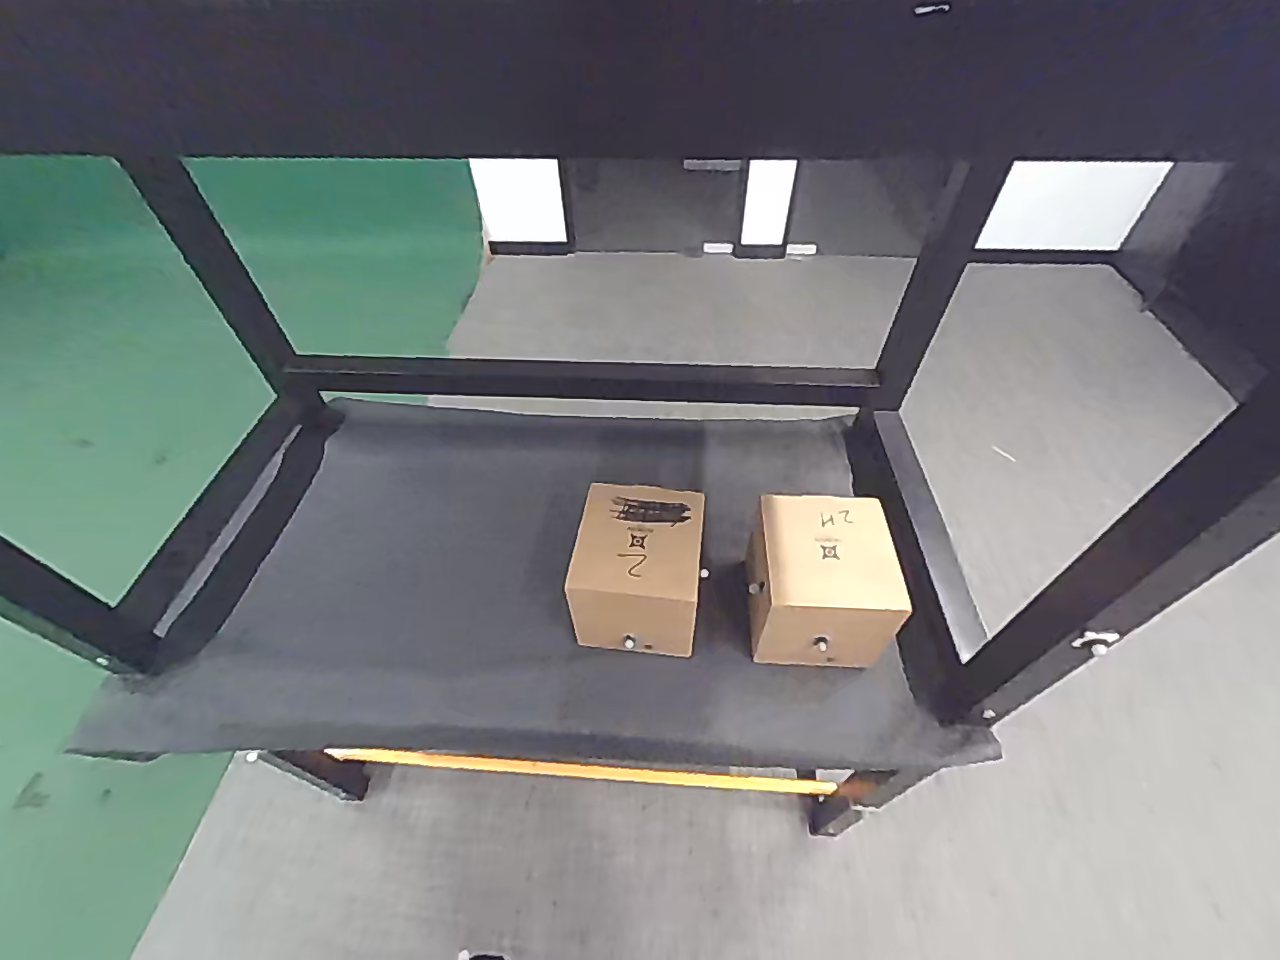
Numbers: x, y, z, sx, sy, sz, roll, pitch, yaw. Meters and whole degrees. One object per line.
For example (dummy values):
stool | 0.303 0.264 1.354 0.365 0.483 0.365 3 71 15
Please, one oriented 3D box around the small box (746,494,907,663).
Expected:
small box | 0.245 0.141 0.759 0.168 0.176 0.179 2 48 3
